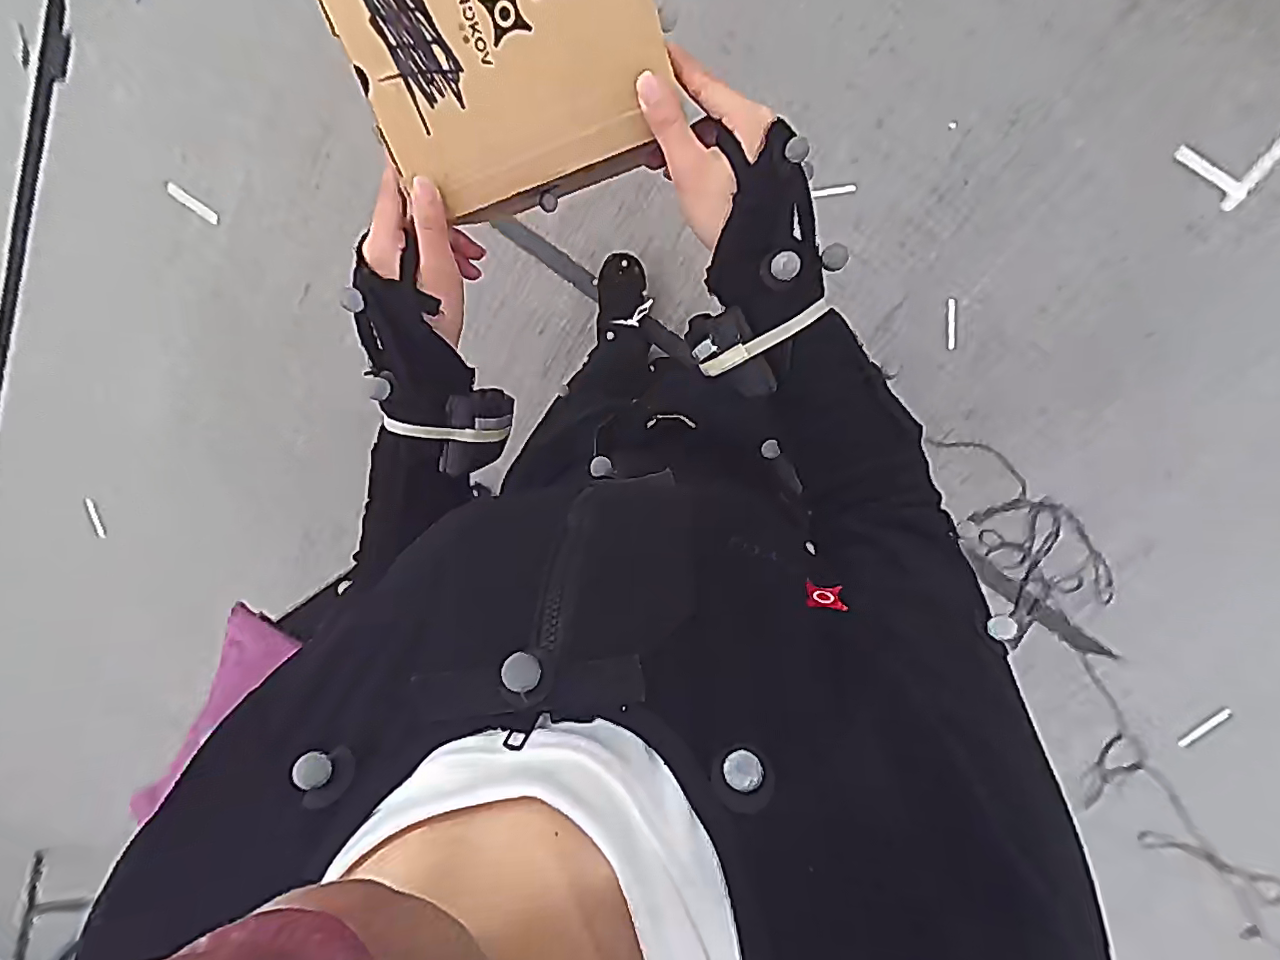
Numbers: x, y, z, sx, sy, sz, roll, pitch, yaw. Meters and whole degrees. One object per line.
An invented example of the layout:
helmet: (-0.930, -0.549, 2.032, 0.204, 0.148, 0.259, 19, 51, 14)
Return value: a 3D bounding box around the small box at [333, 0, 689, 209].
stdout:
small box: (-0.070, -0.292, 0.360, 0.179, 0.176, 0.168, -14, 116, 10)
